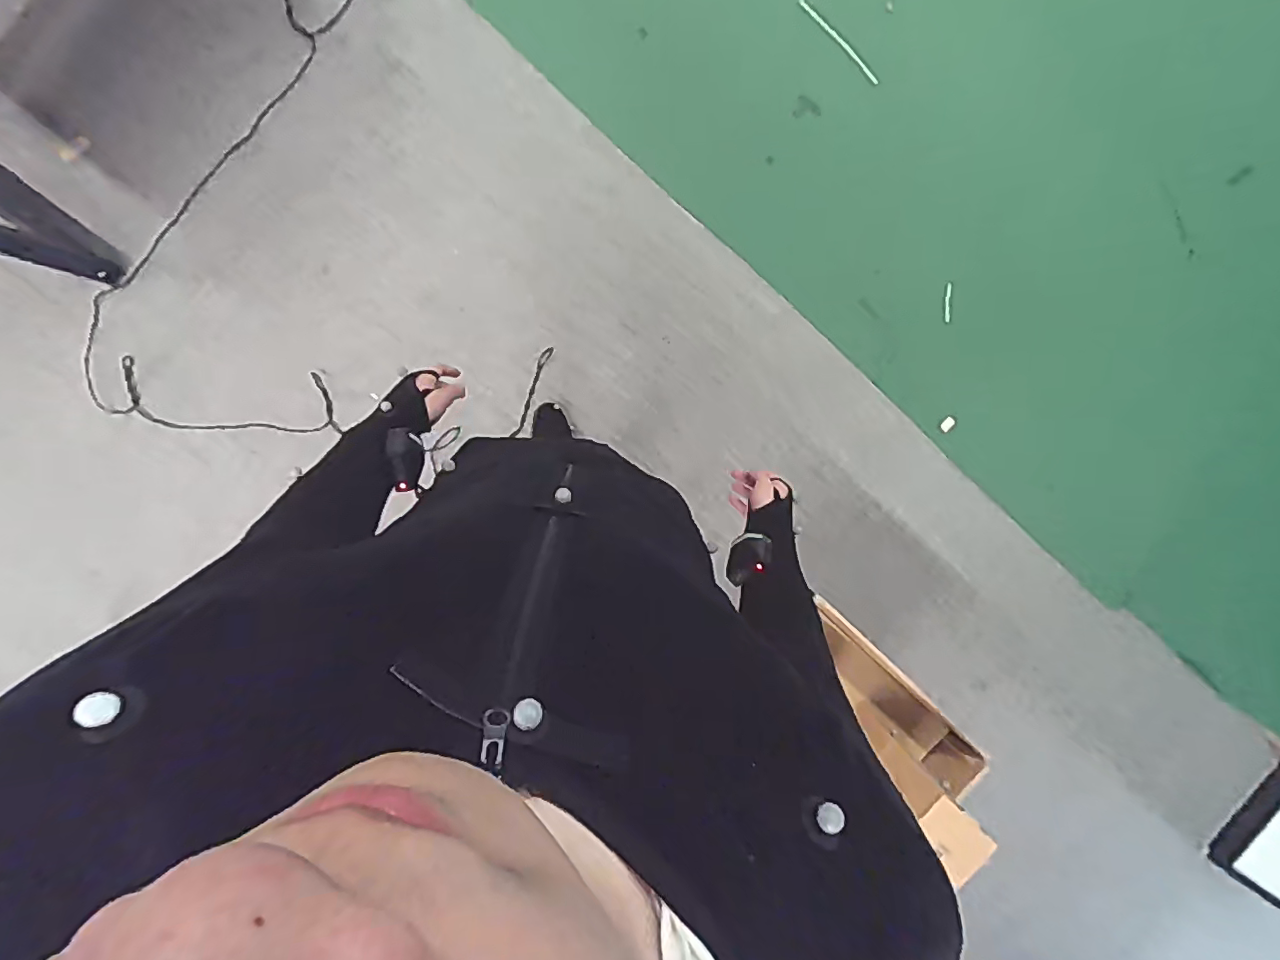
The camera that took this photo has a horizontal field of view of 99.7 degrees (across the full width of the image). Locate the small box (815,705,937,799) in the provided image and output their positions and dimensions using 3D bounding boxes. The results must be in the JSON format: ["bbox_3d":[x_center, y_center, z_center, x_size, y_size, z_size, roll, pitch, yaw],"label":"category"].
[{"bbox_3d":[0.540,0.670,1.269,0.179,0.176,0.168,-45,98,1],"label":"small box"}]

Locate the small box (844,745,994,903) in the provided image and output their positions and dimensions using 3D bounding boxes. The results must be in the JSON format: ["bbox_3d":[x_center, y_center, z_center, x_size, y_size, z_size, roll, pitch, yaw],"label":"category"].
[{"bbox_3d":[0.558,0.690,1.107,0.168,0.176,0.179,44,89,-7],"label":"small box"}]
